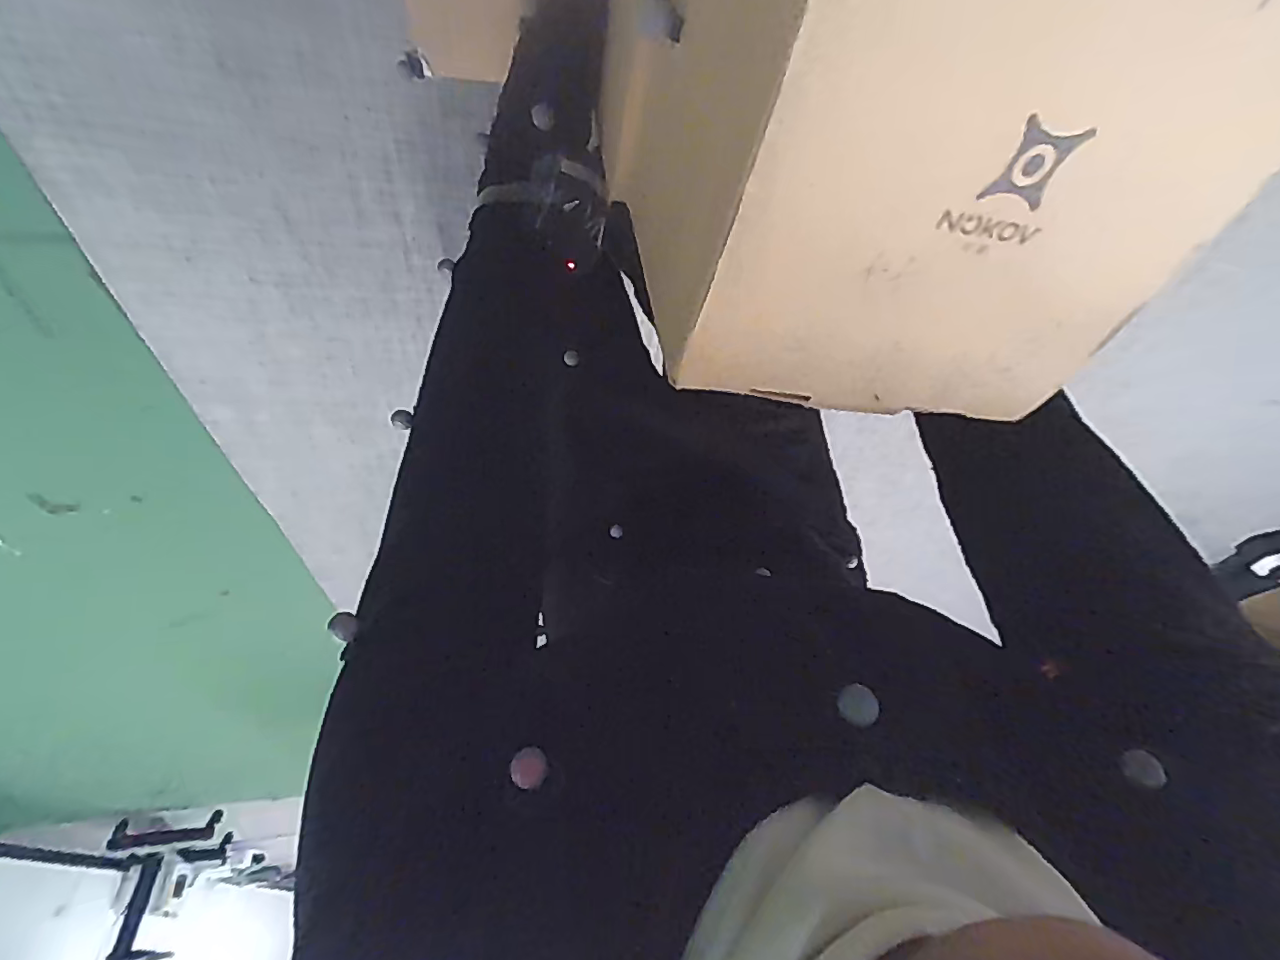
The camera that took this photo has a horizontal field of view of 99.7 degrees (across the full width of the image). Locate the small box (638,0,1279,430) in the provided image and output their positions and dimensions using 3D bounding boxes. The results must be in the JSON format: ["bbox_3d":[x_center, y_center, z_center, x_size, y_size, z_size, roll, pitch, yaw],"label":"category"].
[{"bbox_3d":[0.099,-0.145,0.219,0.168,0.176,0.179,3,142,-14],"label":"small box"}]
